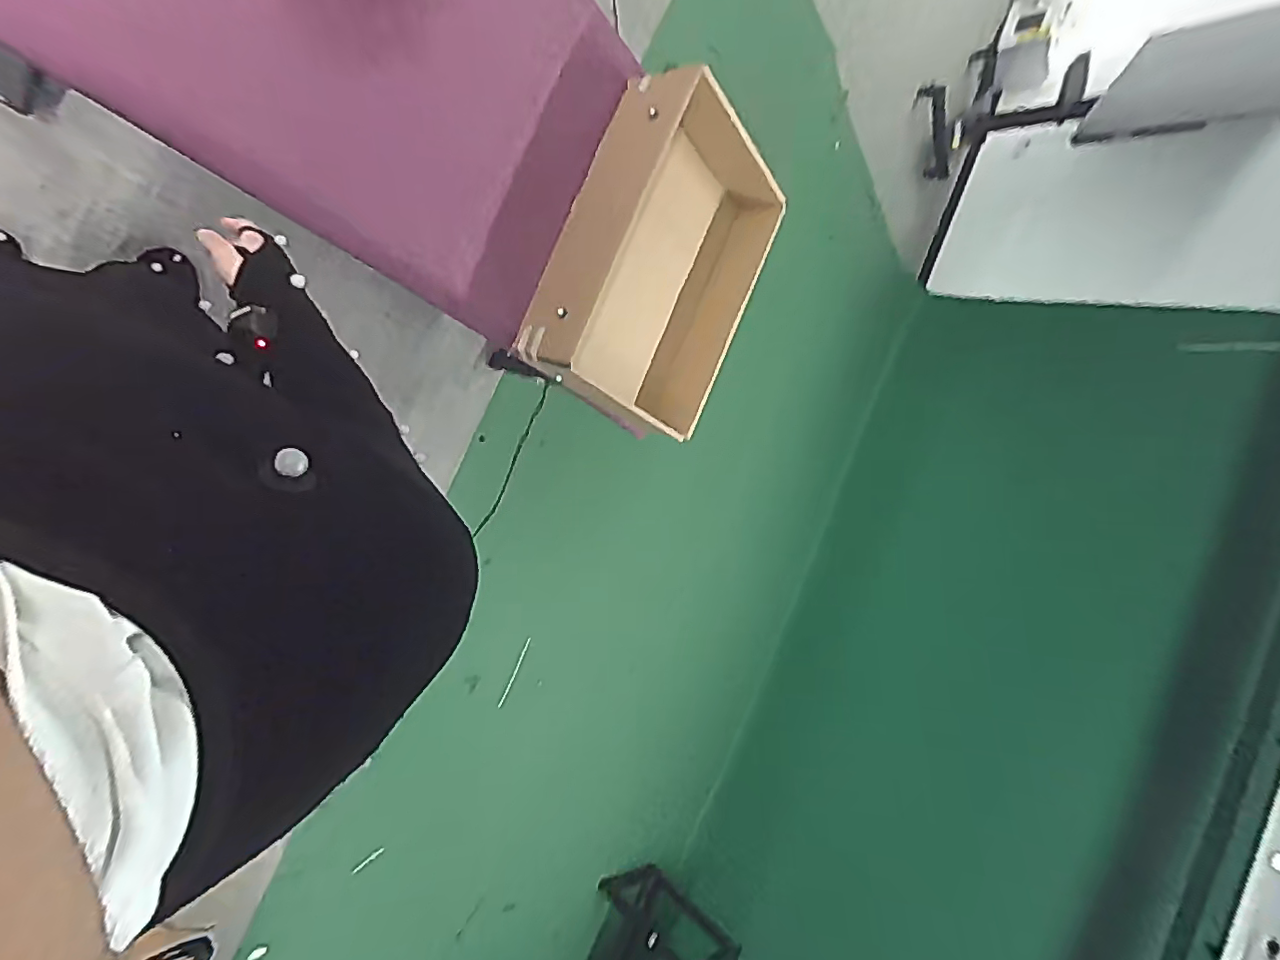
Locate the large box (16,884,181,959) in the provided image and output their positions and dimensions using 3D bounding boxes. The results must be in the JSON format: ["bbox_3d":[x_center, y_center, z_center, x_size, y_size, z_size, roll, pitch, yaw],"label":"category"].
[{"bbox_3d":[-1.421,1.363,1.353,0.408,0.320,0.320,-19,120,-44],"label":"large box"}]
